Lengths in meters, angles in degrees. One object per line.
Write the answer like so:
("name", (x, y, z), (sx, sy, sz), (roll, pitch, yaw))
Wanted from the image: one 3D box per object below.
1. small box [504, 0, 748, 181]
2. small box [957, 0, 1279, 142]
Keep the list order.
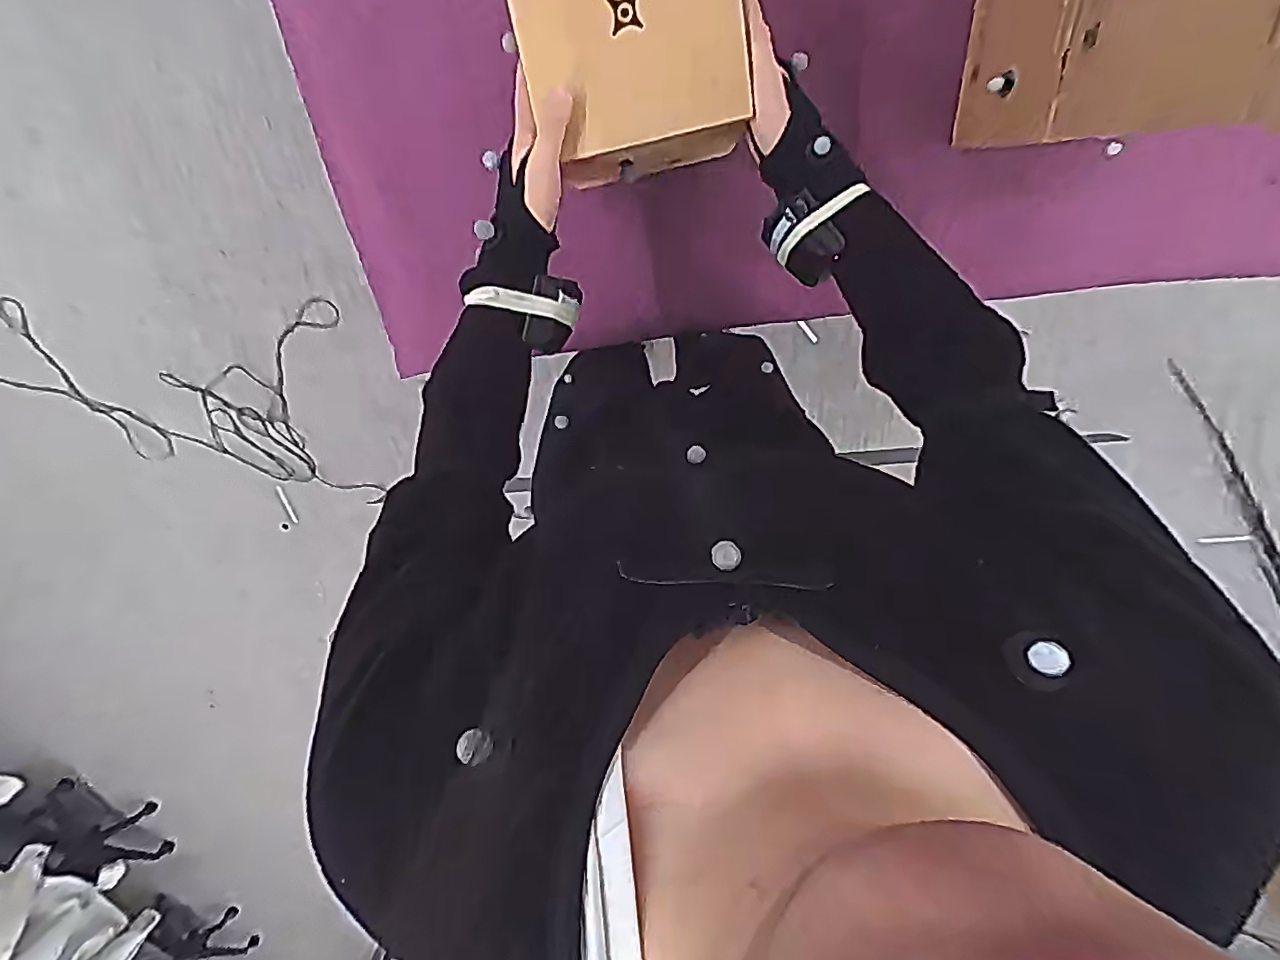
("small box", (-0.008, -0.367, 0.454), (0.168, 0.176, 0.179), (-9, 110, 8))
("small box", (0.401, -0.389, 0.452), (0.179, 0.176, 0.168), (-4, 120, 3))
